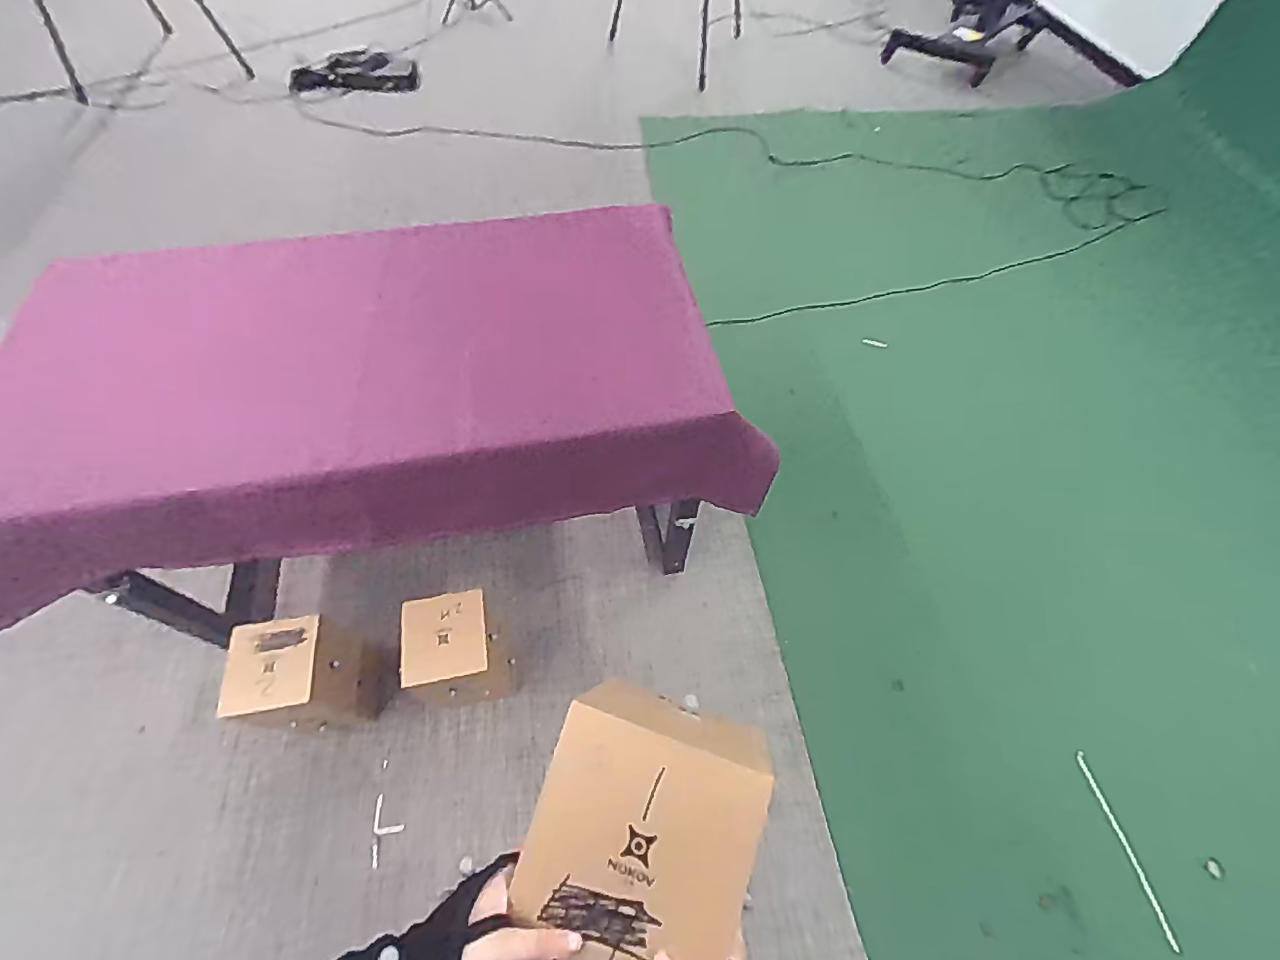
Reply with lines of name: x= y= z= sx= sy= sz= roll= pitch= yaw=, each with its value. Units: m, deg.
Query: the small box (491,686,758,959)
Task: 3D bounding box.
small box: x=0.001 y=0.304 z=0.483 sx=0.168 sy=0.176 sz=0.179 roll=16 pitch=78 yaw=13

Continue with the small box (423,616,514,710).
small box: x=-0.410 y=0.447 z=1.311 sx=0.179 sy=0.176 sz=0.168 roll=-8 pitch=59 yaw=-7
